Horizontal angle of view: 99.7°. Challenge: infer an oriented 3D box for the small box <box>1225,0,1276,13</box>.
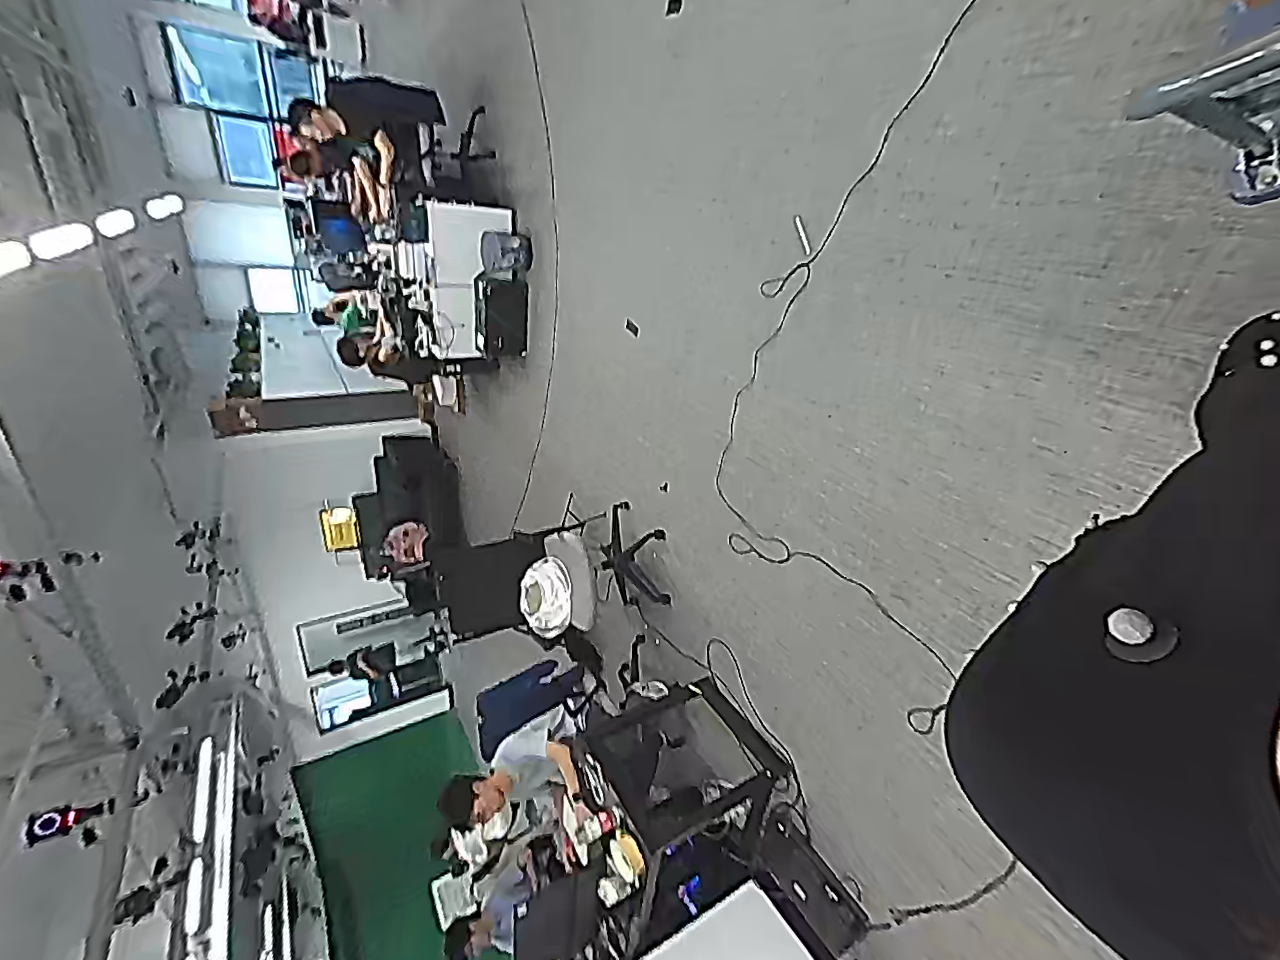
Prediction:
[{"bbox_3d":[0.910,-0.787,0.727,0.179,0.176,0.168,7,104,55],"label":"small box"}]
